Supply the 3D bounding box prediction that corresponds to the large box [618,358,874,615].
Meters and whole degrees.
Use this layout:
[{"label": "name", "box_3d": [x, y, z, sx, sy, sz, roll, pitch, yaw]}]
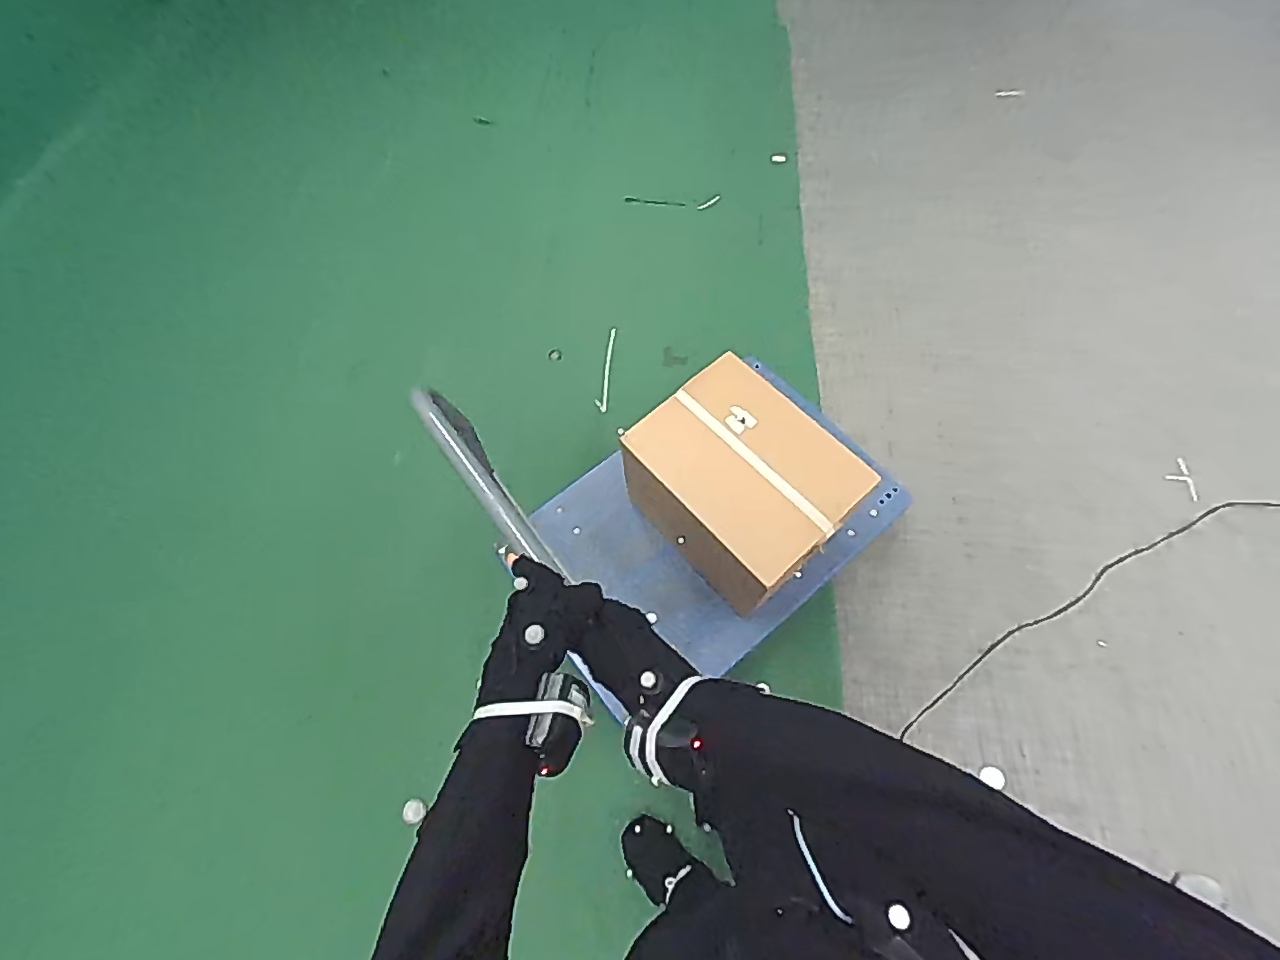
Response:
[{"label": "large box", "box_3d": [0.208, 0.023, 1.180, 0.320, 0.320, 0.408, -39, 69, -15]}]
